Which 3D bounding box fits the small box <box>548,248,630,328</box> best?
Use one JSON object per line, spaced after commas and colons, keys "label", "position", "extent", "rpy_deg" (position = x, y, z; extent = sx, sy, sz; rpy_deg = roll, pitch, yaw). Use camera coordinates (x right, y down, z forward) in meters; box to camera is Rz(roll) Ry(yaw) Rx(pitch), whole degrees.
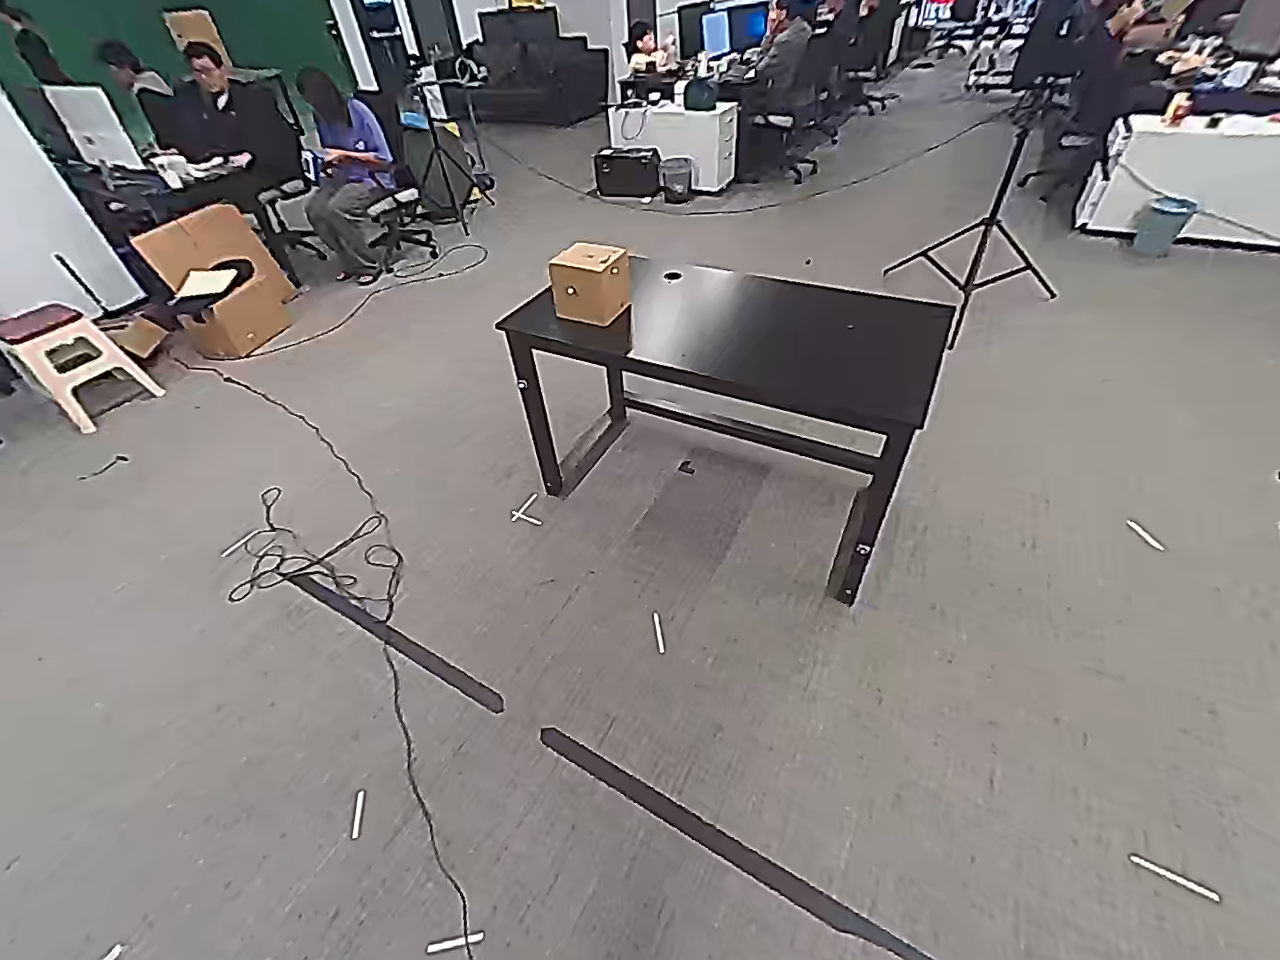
{"label": "small box", "position": [-0.146, -0.572, 1.611], "extent": [0.179, 0.176, 0.168], "rpy_deg": [16, 48, 21]}
